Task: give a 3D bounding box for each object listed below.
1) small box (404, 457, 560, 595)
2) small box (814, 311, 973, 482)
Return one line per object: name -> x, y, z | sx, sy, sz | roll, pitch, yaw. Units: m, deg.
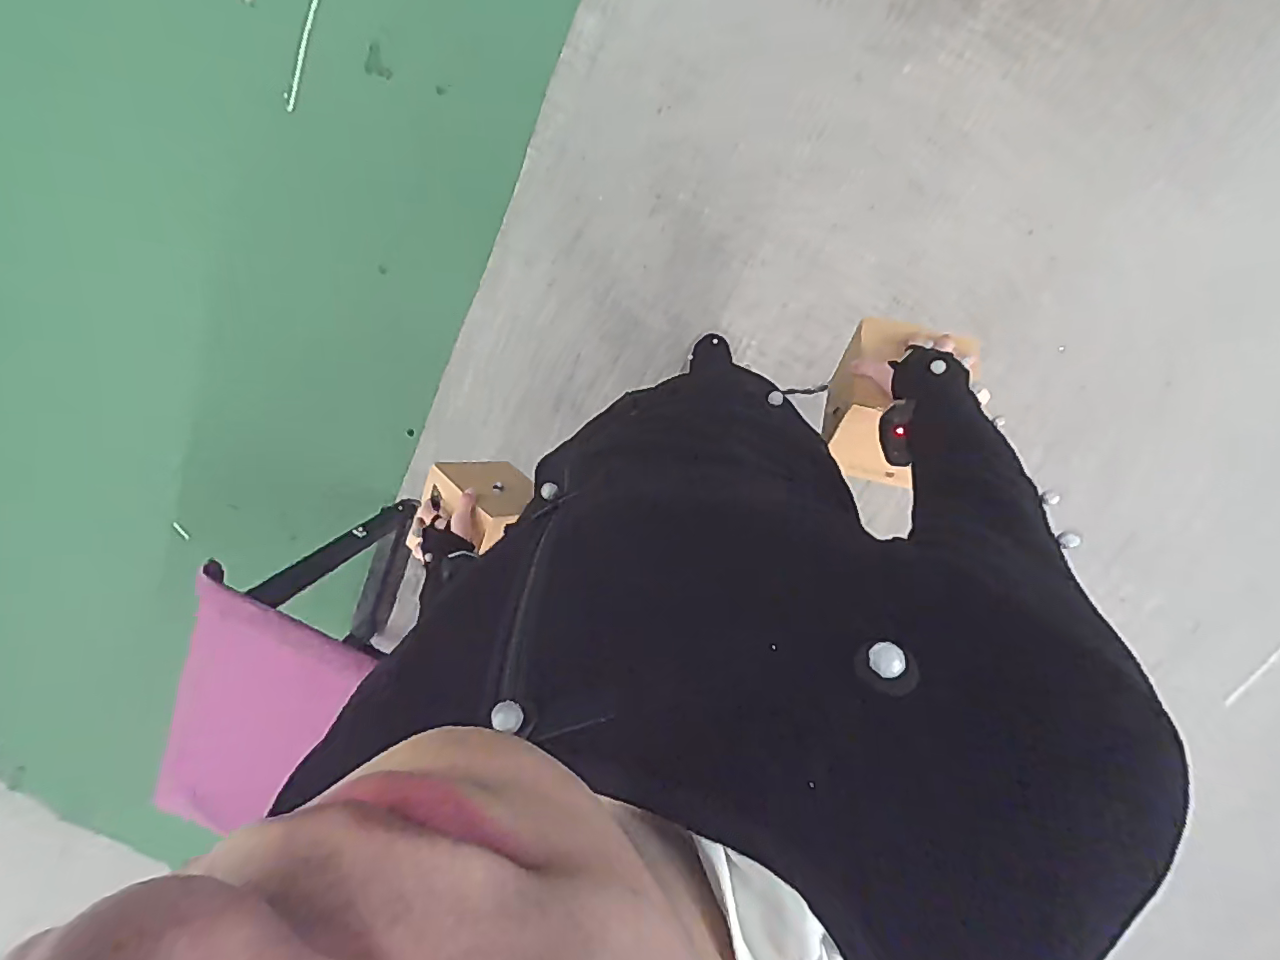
small box -> -0.275, 0.072, 0.949 | 0.179, 0.176, 0.168 | 35, 111, 27
small box -> 0.375, -0.119, 0.821 | 0.168, 0.179, 0.176 | 15, 152, 7
